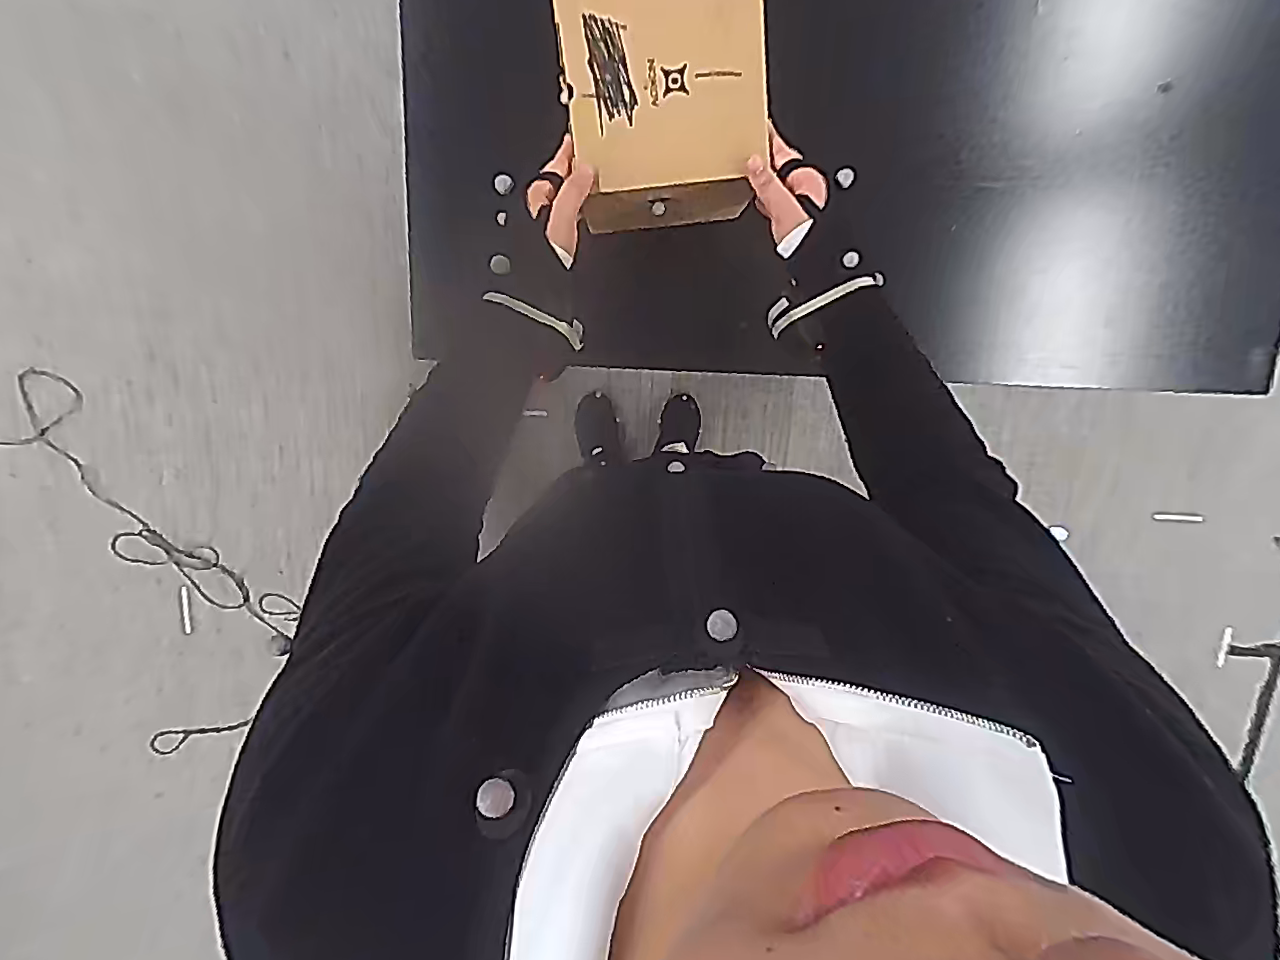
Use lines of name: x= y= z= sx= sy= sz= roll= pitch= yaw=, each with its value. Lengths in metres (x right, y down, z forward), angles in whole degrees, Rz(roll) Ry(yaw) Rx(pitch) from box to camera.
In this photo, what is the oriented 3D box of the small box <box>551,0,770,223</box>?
small box: x=0.020 y=-0.364 z=0.532 sx=0.179 sy=0.176 sz=0.168 roll=-6 pitch=104 yaw=1
